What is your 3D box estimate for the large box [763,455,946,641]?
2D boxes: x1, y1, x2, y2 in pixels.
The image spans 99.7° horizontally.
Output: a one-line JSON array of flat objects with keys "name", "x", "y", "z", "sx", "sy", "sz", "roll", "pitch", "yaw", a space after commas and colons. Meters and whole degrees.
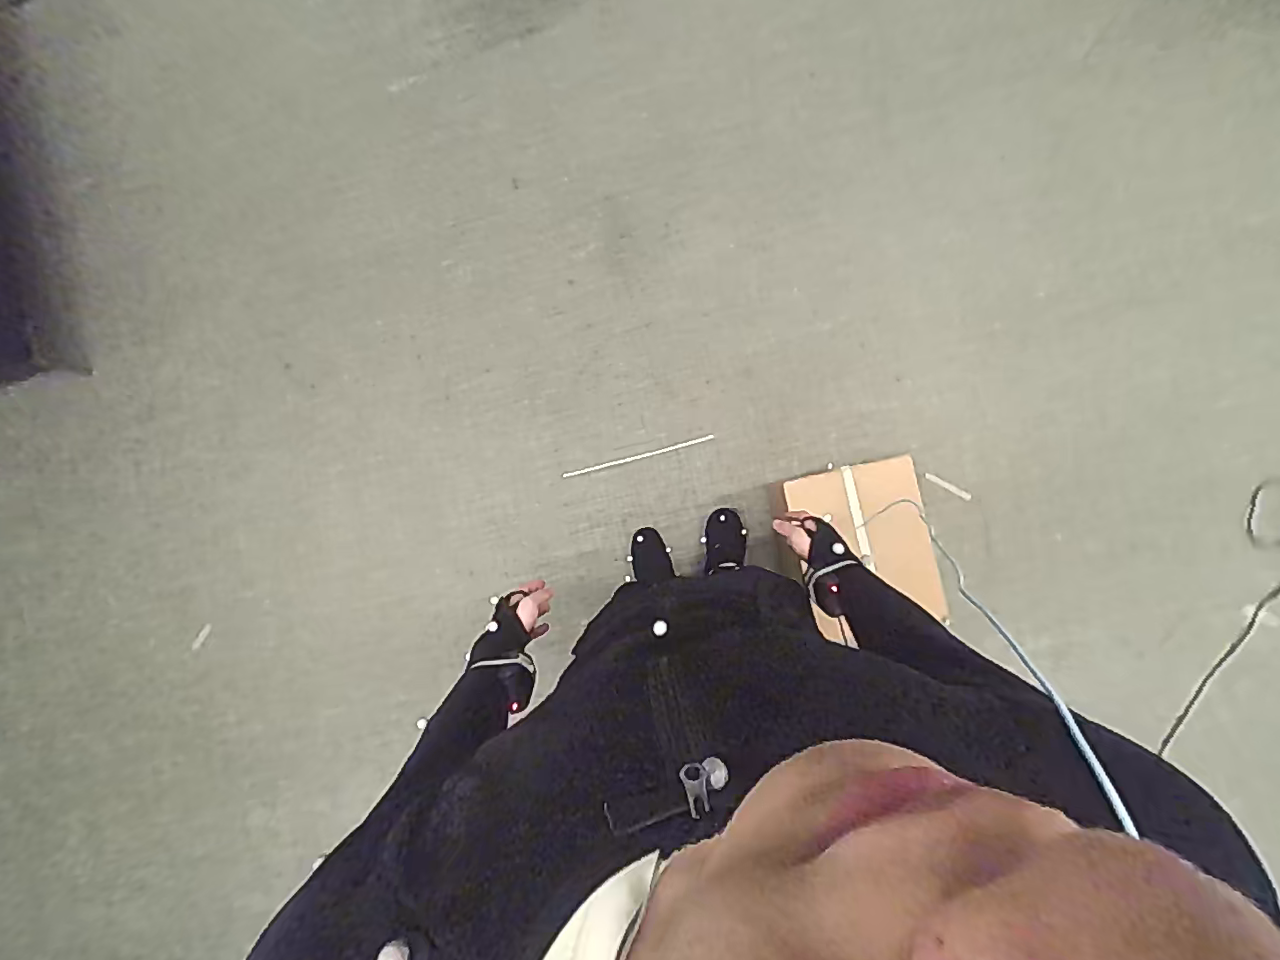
[{"name": "large box", "x": 0.546, "y": 0.168, "z": 1.452, "sx": 0.320, "sy": 0.320, "sz": 0.408, "roll": -13, "pitch": 88, "yaw": 4}]
